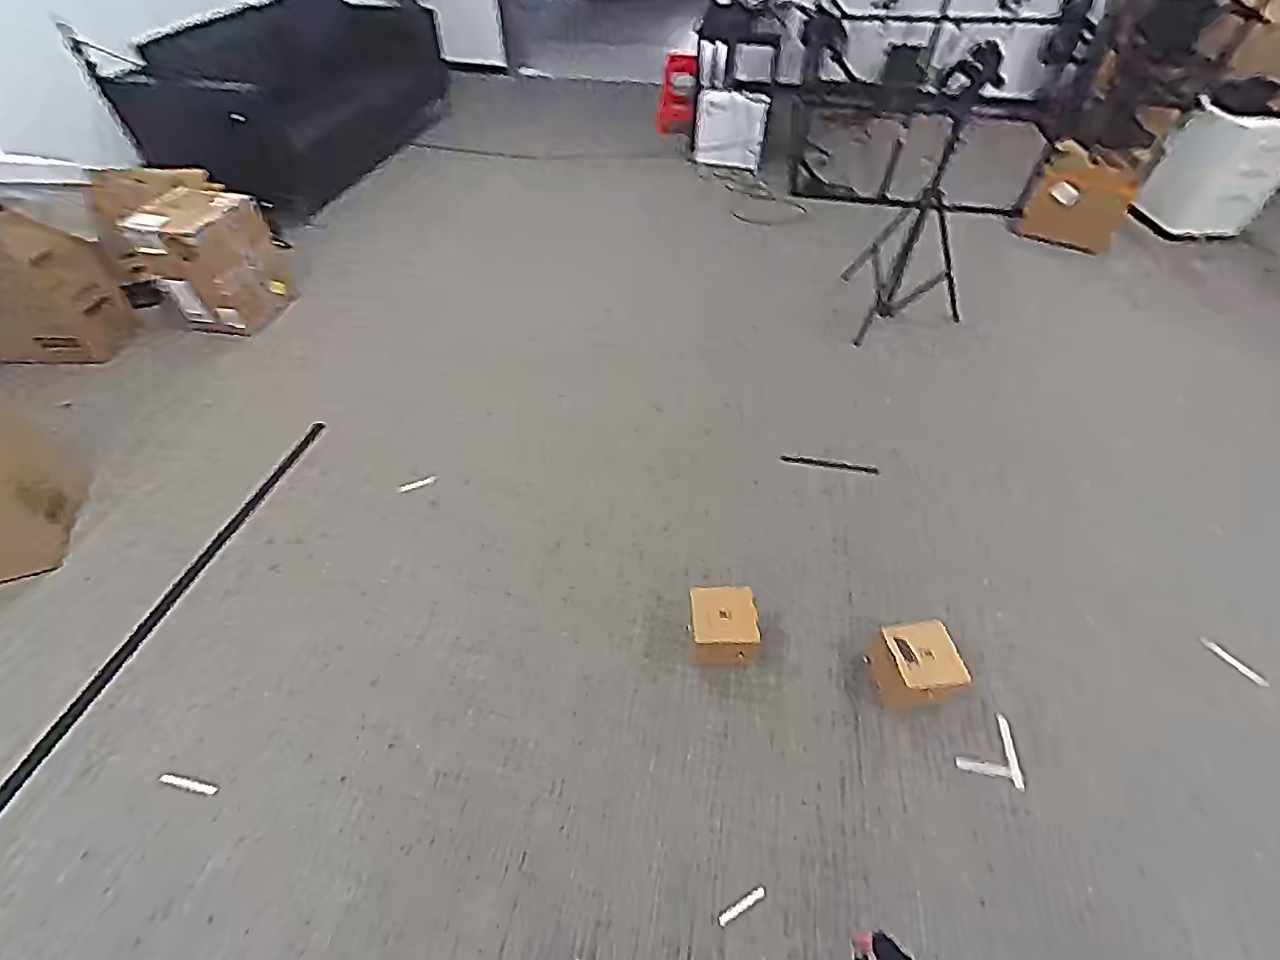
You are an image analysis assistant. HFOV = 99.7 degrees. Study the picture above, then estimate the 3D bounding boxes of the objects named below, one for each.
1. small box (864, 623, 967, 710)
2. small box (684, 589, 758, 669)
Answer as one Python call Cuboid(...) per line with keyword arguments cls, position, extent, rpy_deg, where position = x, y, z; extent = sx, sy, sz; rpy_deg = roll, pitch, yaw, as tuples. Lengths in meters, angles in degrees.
Cuboid(cls="small box", position=(0.730, 0.507, 1.463), extent=(0.179, 0.176, 0.168), rpy_deg=(-5, 49, -5))
Cuboid(cls="small box", position=(0.223, 0.424, 1.531), extent=(0.179, 0.176, 0.168), rpy_deg=(-2, 48, -1))
